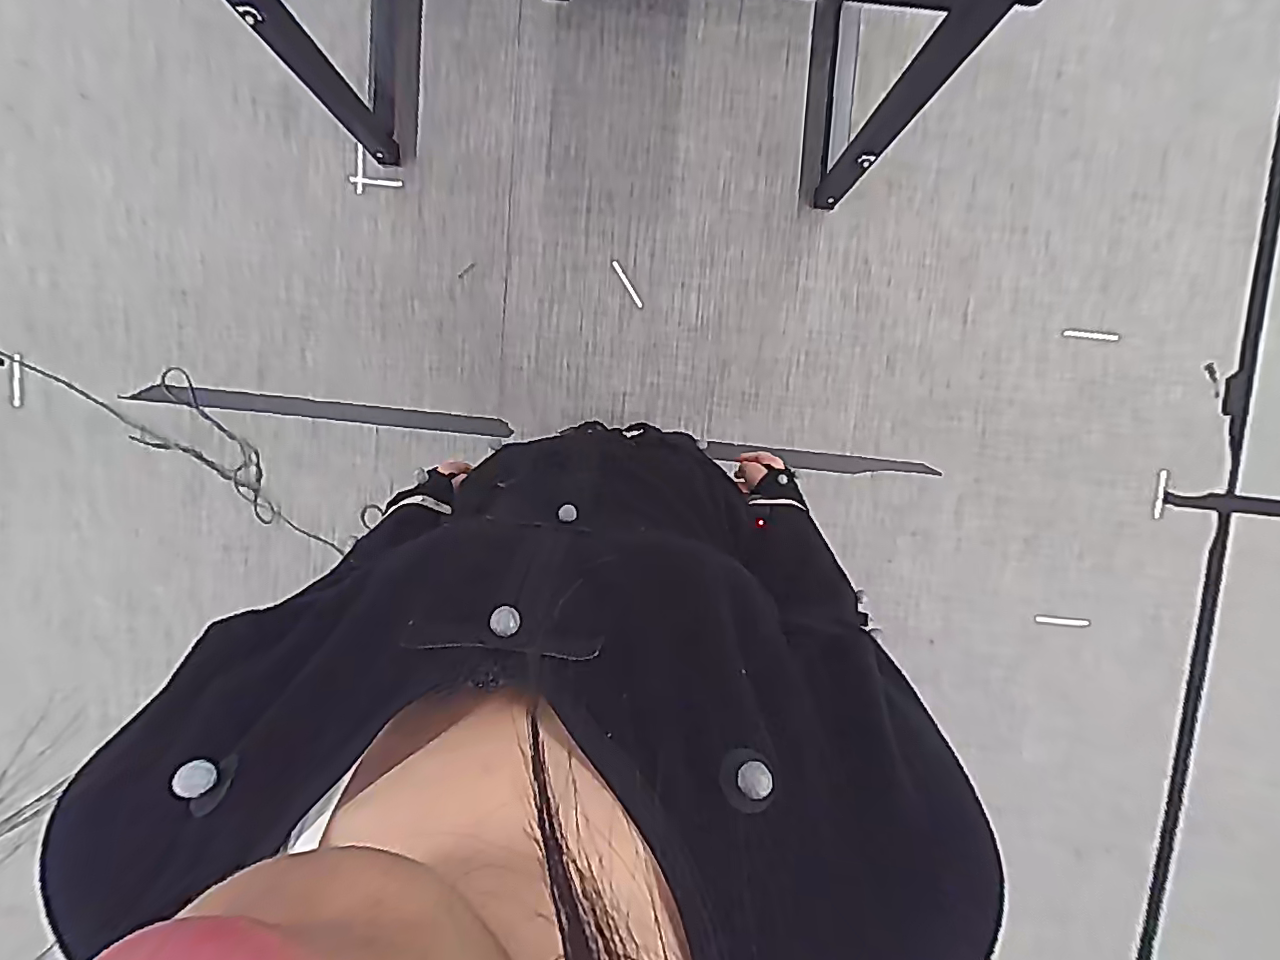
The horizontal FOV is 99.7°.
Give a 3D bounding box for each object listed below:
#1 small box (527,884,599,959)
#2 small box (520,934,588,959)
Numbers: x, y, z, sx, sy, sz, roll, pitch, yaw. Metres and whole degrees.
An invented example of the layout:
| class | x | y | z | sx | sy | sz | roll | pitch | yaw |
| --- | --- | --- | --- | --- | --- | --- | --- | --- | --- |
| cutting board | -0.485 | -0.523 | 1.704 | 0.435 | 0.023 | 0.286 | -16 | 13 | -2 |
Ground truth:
| class | x | y | z | sx | sy | sz | roll | pitch | yaw |
| --- | --- | --- | --- | --- | --- | --- | --- | --- | --- |
| small box | -0.208 | 1.258 | 1.492 | 0.168 | 0.176 | 0.179 | -9 | 95 | -1 |
| small box | -0.210 | 1.278 | 1.329 | 0.168 | 0.176 | 0.179 | -8 | 95 | -3 |
